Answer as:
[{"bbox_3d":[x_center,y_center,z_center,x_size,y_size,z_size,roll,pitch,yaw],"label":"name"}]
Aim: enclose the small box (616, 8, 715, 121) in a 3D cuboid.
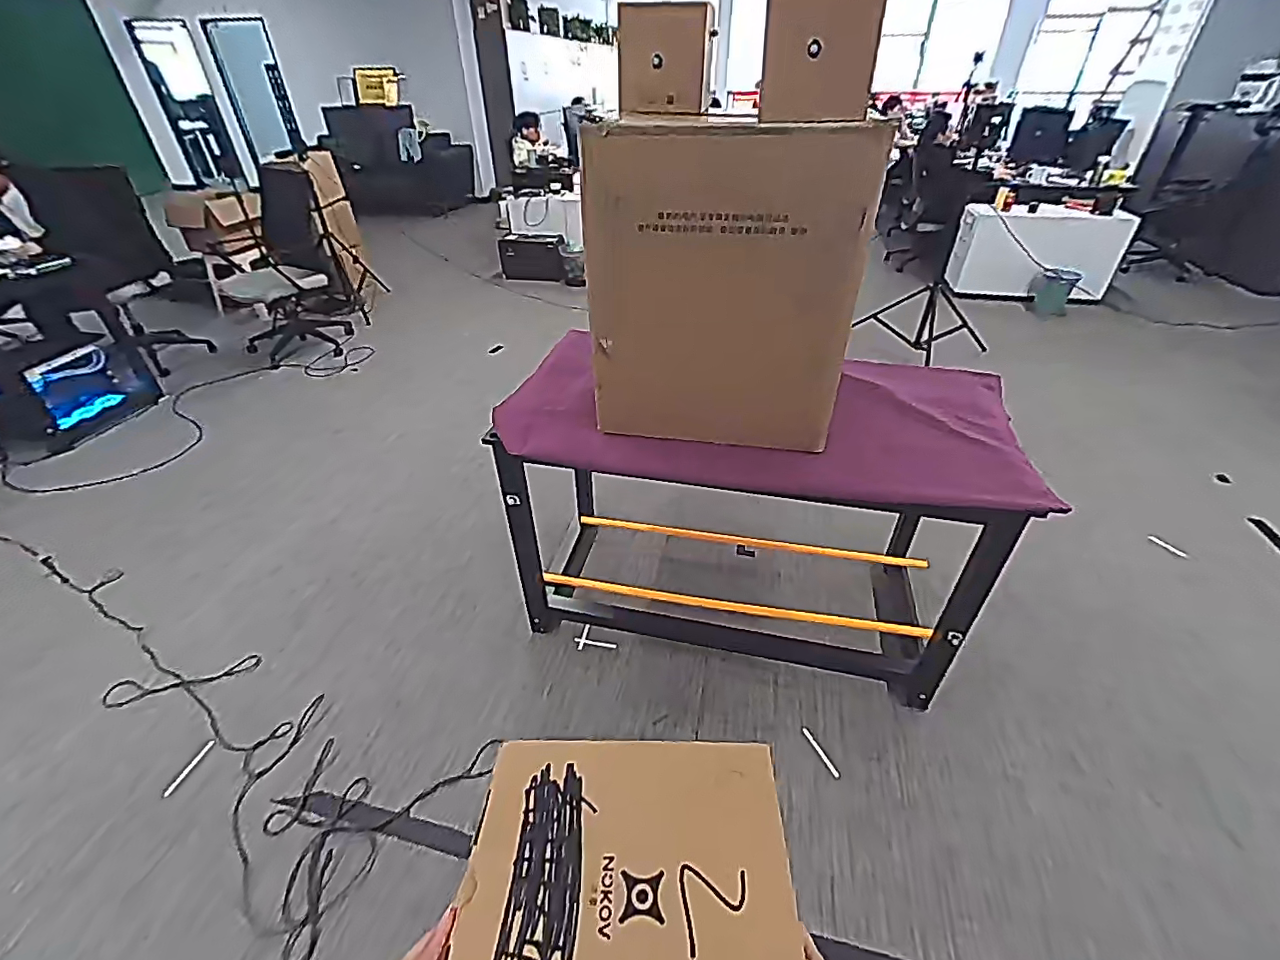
[{"bbox_3d":[0.053,-0.821,1.077,0.168,0.176,0.179,8,38,9],"label":"small box"}]
